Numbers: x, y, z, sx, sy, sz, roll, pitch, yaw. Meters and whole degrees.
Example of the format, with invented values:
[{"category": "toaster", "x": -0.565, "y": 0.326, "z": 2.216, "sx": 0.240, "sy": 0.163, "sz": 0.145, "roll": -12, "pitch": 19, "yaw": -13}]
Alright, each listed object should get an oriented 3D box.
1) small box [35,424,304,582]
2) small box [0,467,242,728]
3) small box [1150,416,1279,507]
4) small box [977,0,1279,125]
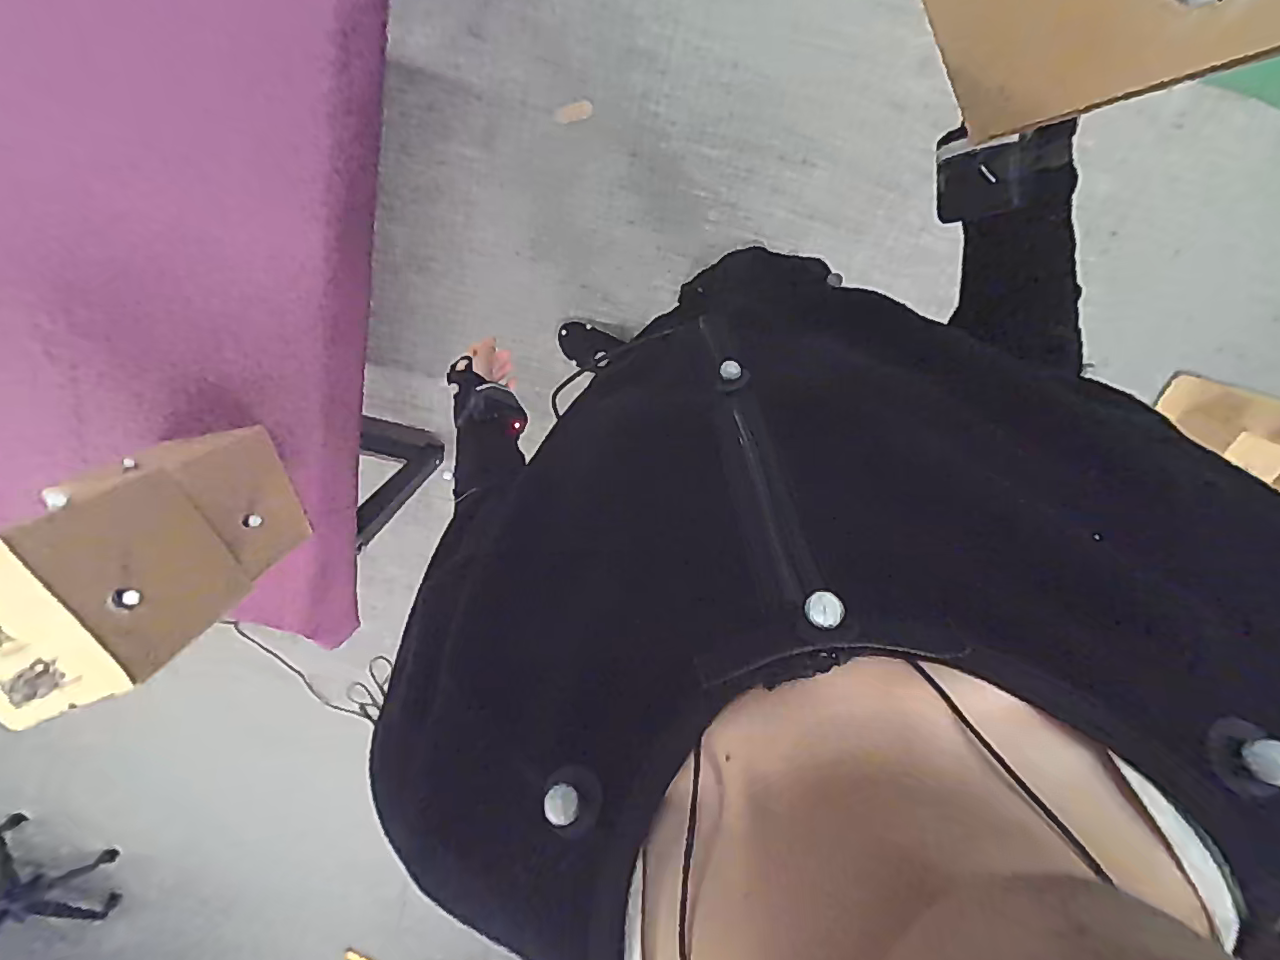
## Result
[{"category": "small box", "x": -0.587, "y": 0.042, "z": 0.708, "sx": 0.168, "sy": 0.176, "sz": 0.179, "roll": -9, "pitch": 113, "yaw": 4}, {"category": "small box", "x": -0.574, "y": 0.112, "z": 0.558, "sx": 0.168, "sy": 0.176, "sz": 0.179, "roll": -20, "pitch": 110, "yaw": 9}, {"category": "small box", "x": 1.536, "y": -0.055, "z": 1.434, "sx": 0.179, "sy": 0.176, "sz": 0.168, "roll": 18, "pitch": 113, "yaw": -8}, {"category": "small box", "x": 0.214, "y": -0.271, "z": 0.171, "sx": 0.176, "sy": 0.179, "sz": 0.168, "roll": 38, "pitch": 78, "yaw": -35}]
